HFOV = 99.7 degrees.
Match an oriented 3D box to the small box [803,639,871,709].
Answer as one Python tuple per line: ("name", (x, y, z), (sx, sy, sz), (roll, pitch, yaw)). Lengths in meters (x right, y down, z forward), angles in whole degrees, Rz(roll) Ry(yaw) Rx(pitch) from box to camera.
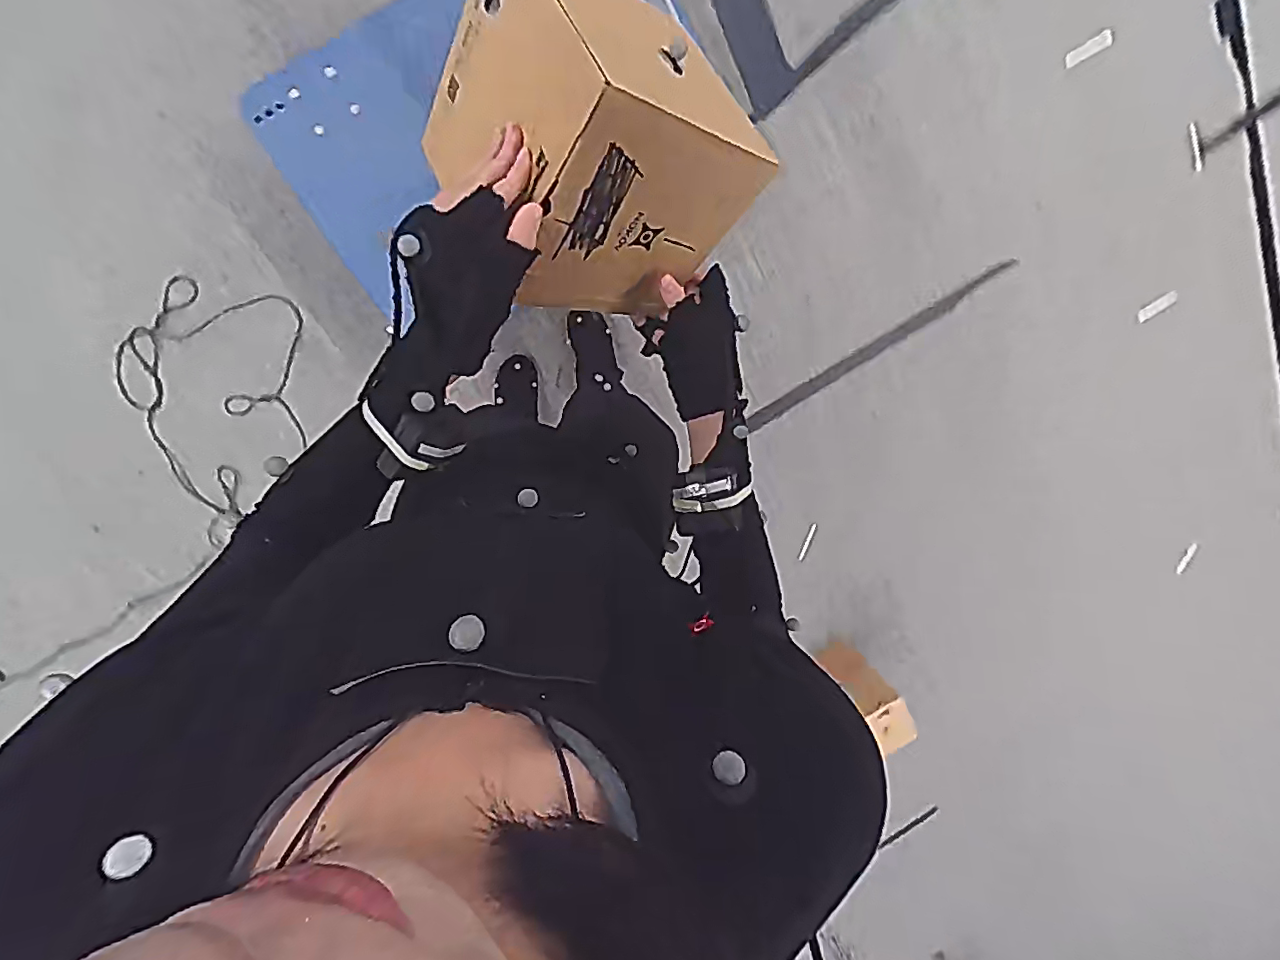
("small box", (0.674, 0.674, 1.815), (0.179, 0.176, 0.168), (-36, 110, -1))

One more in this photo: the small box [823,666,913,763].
("small box", (0.693, 0.712, 1.656), (0.168, 0.176, 0.179), (-30, 110, -2))

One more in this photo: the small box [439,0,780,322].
("small box", (-0.033, -0.251, 0.424), (0.179, 0.168, 0.176), (-10, 68, -44))
